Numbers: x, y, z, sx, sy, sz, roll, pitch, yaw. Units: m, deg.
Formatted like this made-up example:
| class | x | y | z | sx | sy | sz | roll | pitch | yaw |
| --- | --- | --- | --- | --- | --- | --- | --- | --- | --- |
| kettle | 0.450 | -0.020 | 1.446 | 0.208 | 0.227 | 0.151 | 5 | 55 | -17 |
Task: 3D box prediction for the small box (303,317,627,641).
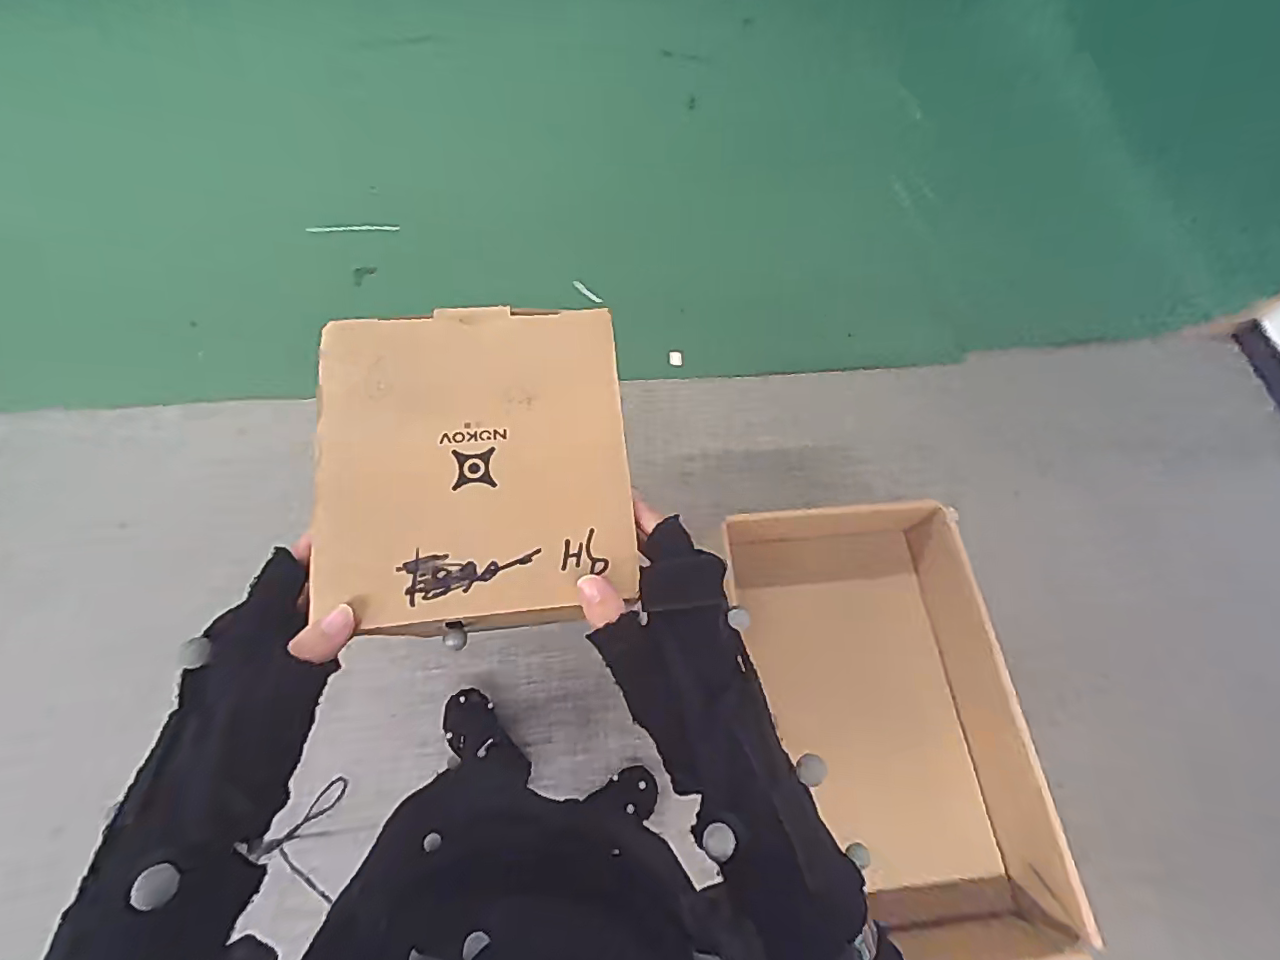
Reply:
| class | x | y | z | sx | sy | sz | roll | pitch | yaw |
| --- | --- | --- | --- | --- | --- | --- | --- | --- | --- |
| small box | -0.104 | 0.011 | 0.379 | 0.168 | 0.176 | 0.179 | -6 | 73 | -6 |
